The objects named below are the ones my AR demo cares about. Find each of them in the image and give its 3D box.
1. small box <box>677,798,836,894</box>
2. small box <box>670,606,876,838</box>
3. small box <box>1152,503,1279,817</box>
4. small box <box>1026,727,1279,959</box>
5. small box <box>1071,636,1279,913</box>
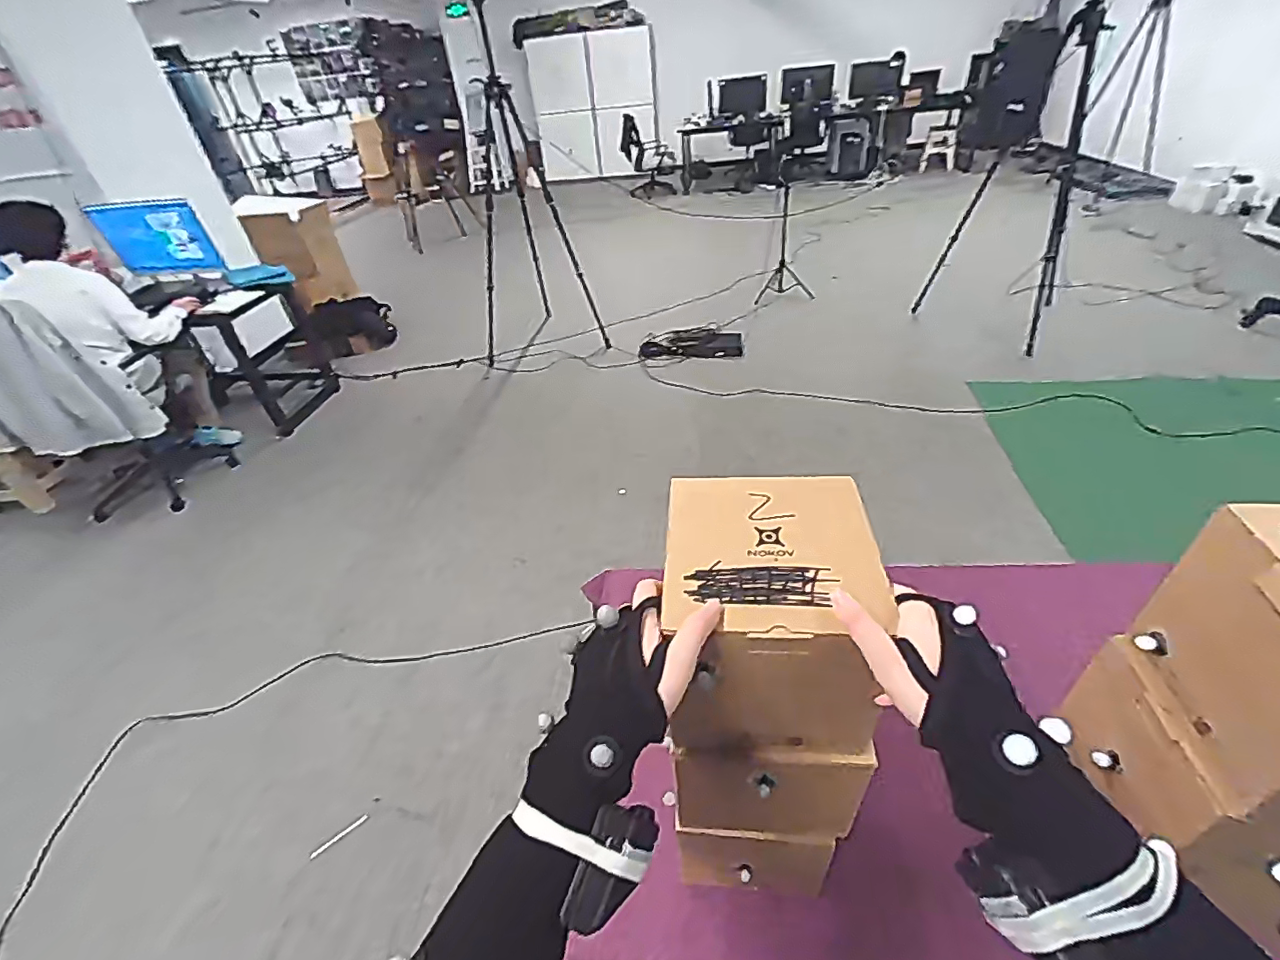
[{"bbox_3d":[0.138,0.380,0.669,0.168,0.176,0.179,0,38,9],"label":"small box"},{"bbox_3d":[0.128,0.252,0.569,0.179,0.176,0.168,0,39,8],"label":"small box"},{"bbox_3d":[0.526,0.135,0.384,0.179,0.176,0.168,3,39,10],"label":"small box"},{"bbox_3d":[0.557,0.393,0.586,0.179,0.176,0.168,-1,38,8],"label":"small box"},{"bbox_3d":[0.534,0.263,0.487,0.179,0.176,0.168,1,39,11],"label":"small box"}]
